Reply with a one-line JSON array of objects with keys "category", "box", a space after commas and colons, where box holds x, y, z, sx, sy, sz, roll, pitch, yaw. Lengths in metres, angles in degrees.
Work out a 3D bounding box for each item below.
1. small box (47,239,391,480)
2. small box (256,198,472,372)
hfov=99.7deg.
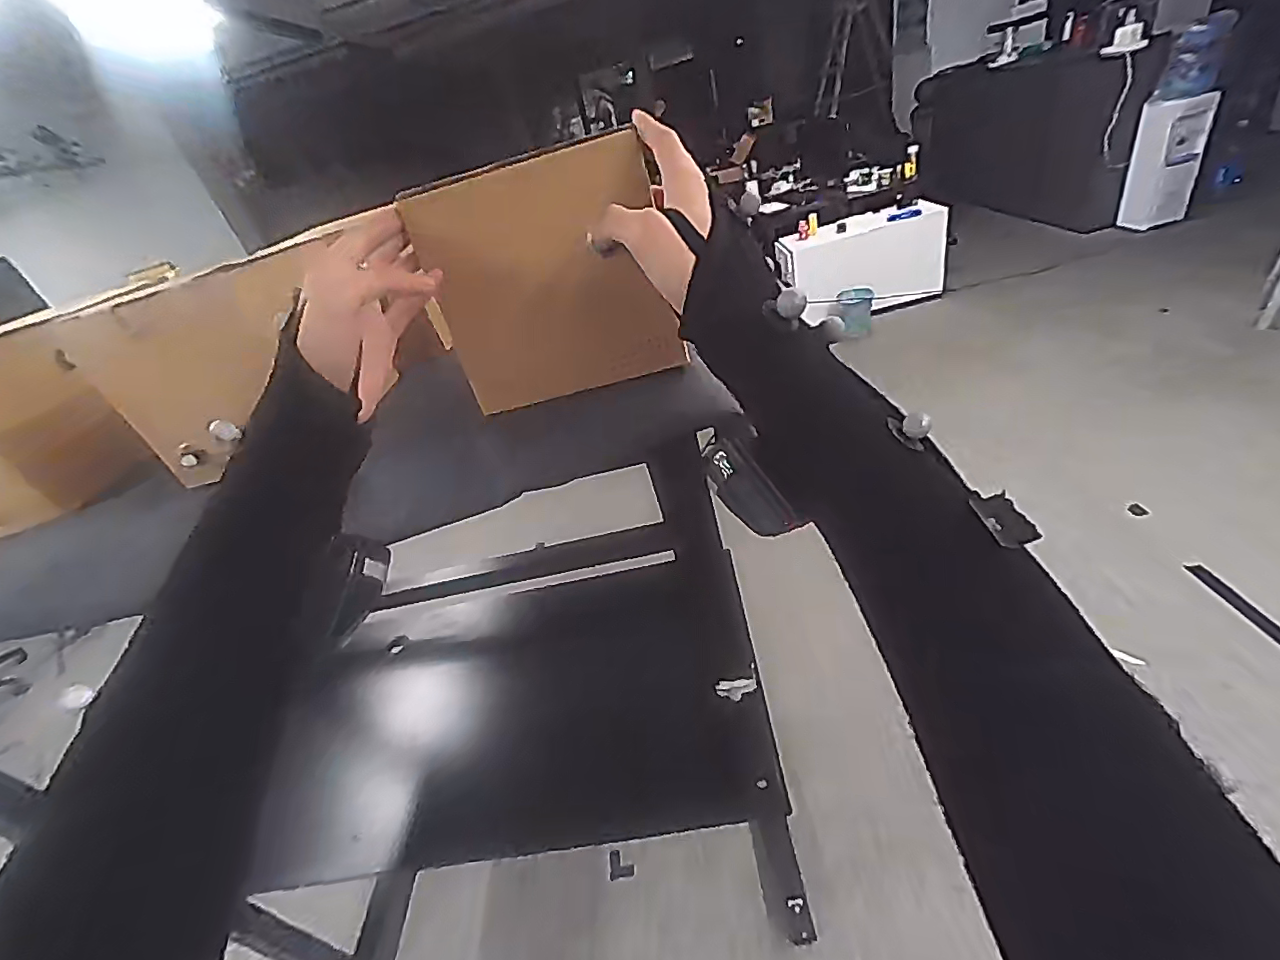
[{"category": "small box", "box": [-0.380, -0.115, 0.535, 0.168, 0.176, 0.179, -14, 32, 6]}, {"category": "small box", "box": [-0.343, -0.252, 0.716, 0.168, 0.176, 0.179, -13, 35, 7]}]
